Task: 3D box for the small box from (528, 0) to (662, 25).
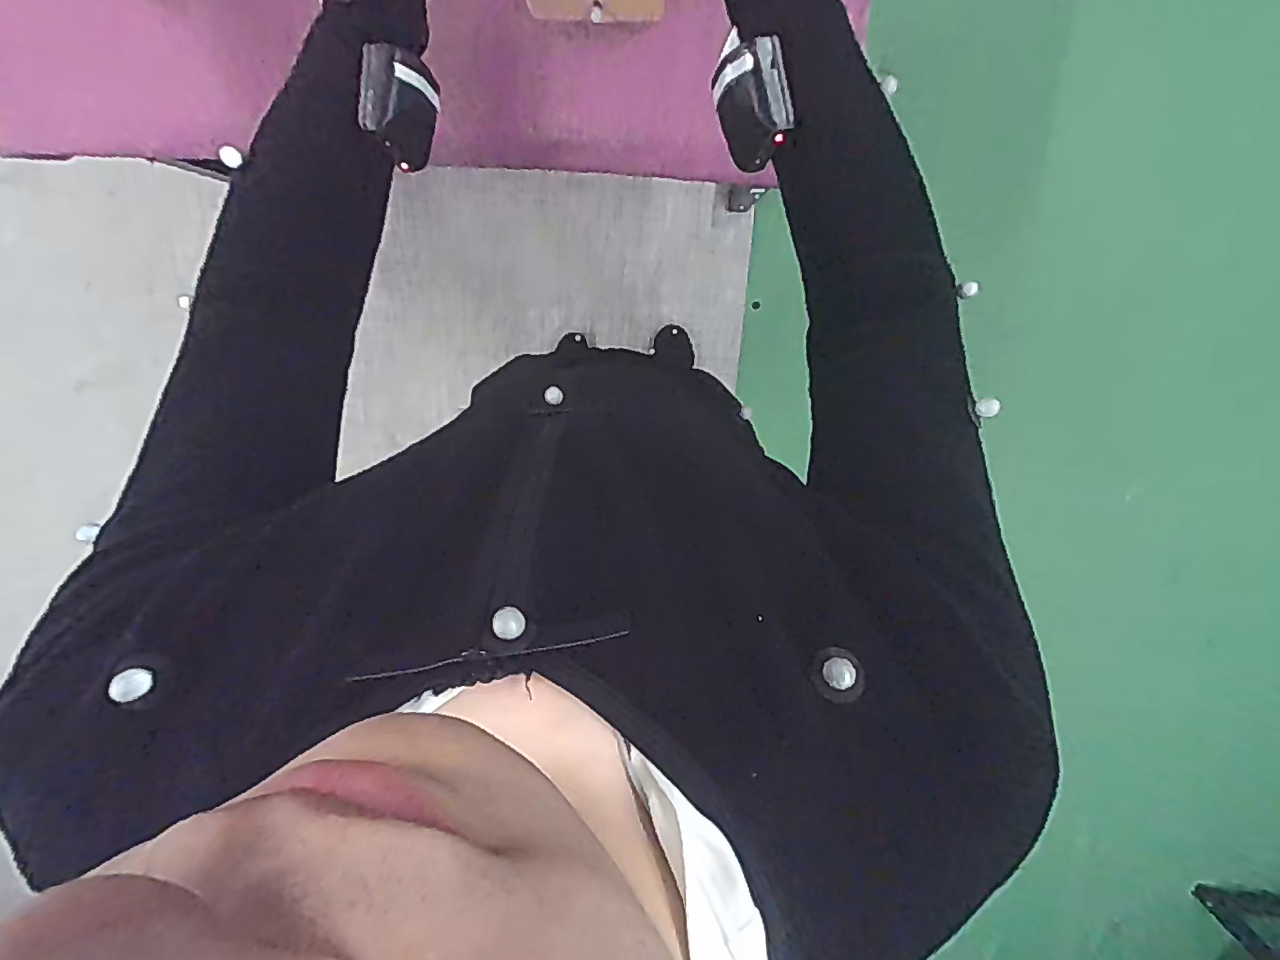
[{"bbox_3d":[-0.054,-0.666,0.626,0.179,0.176,0.168,1,107,1],"label":"small box"}]
